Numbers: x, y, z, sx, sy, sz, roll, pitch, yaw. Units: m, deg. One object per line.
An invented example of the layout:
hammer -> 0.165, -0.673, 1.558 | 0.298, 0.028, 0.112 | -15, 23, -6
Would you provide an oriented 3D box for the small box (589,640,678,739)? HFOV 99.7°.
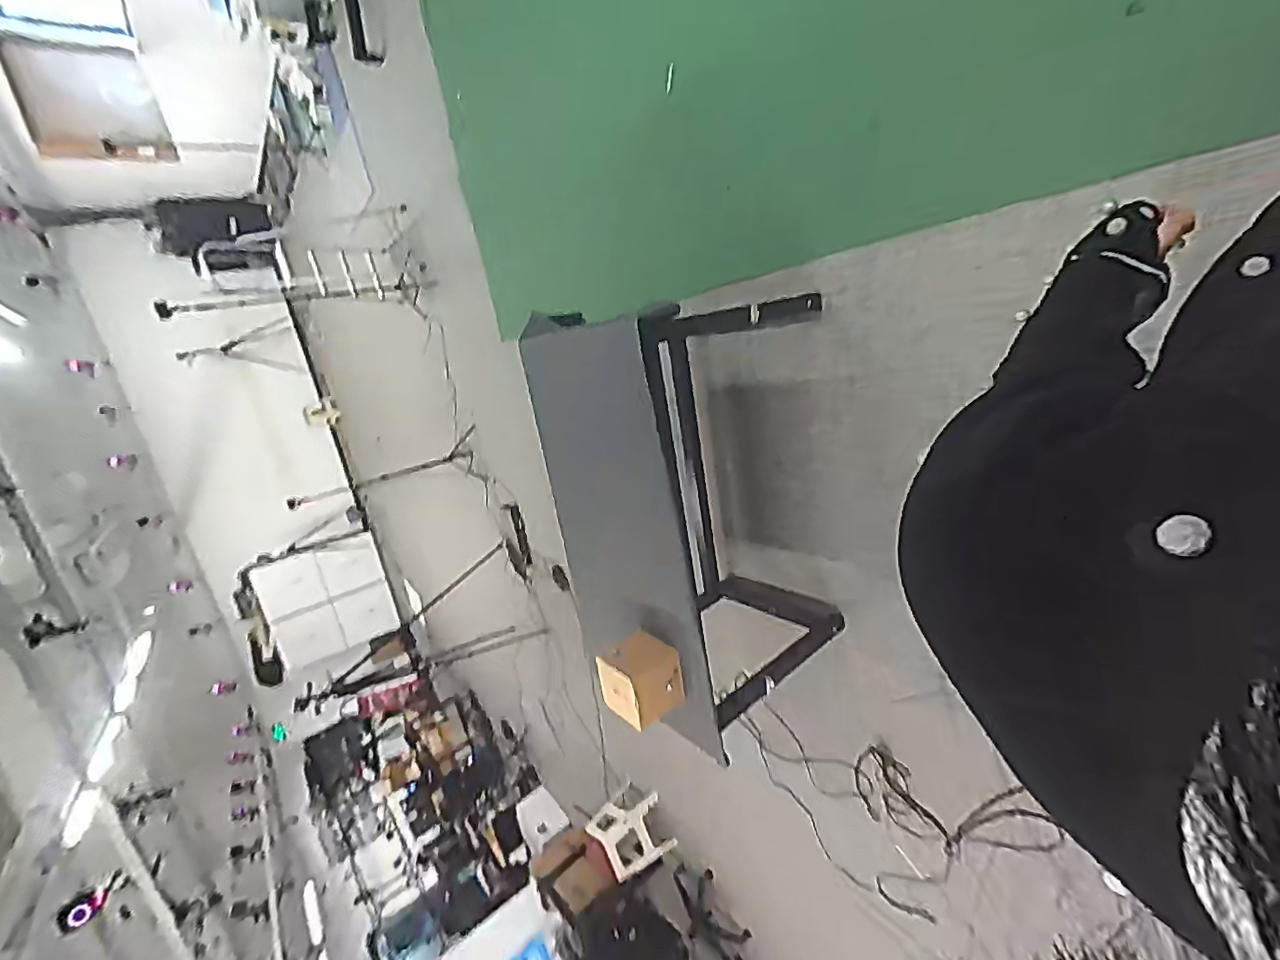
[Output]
small box -> -0.017, 0.571, 1.507 | 0.179, 0.176, 0.168 | 12, 117, 49
